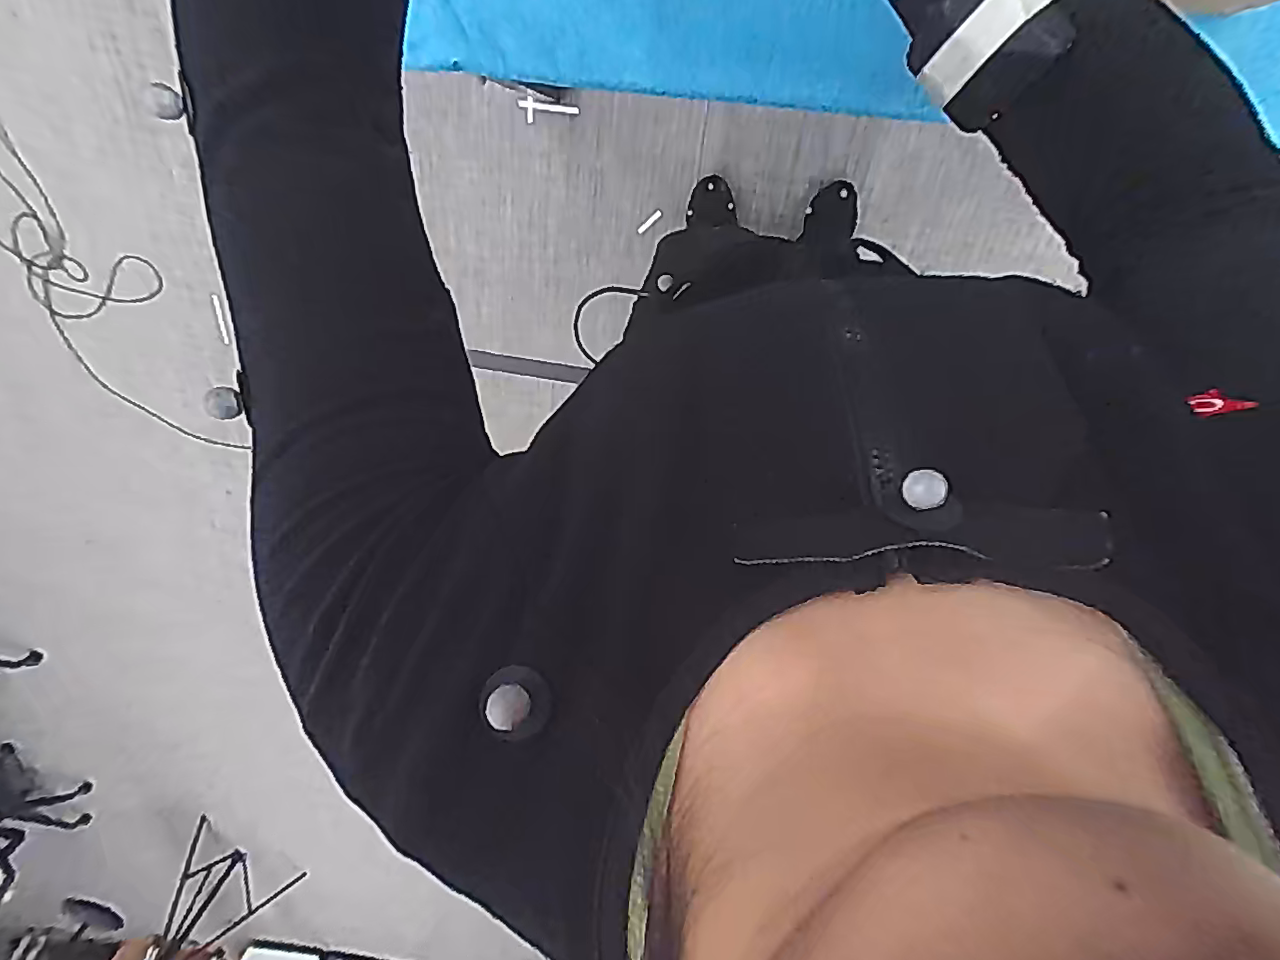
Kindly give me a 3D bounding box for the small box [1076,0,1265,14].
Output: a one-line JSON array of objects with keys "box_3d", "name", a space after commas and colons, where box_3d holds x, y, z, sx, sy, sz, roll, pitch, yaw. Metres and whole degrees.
[{"box_3d": [0.443, -0.454, 0.377, 0.179, 0.176, 0.168, 8, 121, 3], "name": "small box"}]
